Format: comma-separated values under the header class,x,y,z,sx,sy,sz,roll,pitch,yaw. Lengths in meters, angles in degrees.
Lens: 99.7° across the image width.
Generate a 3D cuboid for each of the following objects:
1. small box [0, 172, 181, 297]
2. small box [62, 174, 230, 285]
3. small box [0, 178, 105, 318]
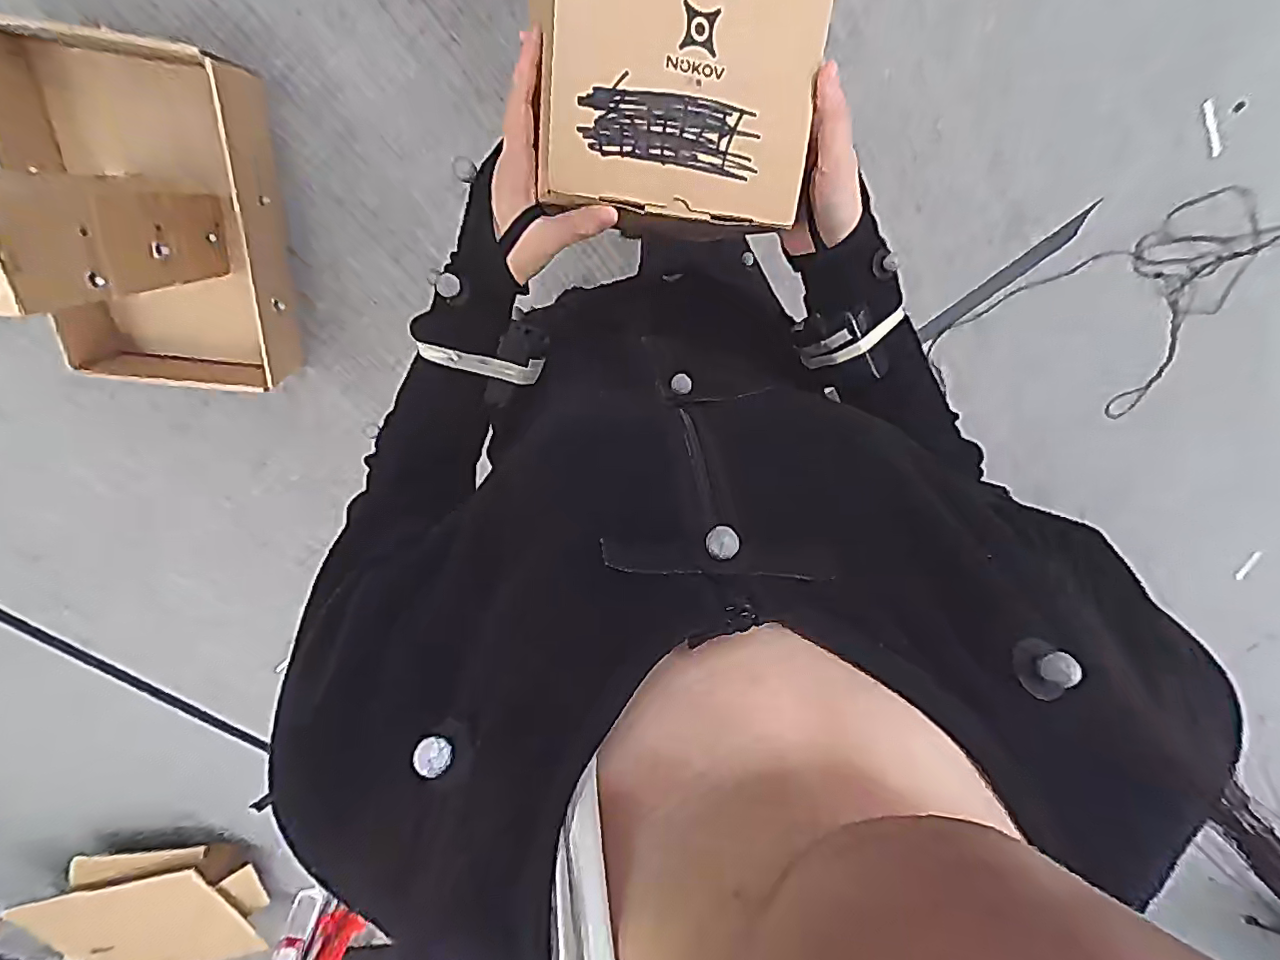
class,x,y,z,sx,sy,sz,roll,pitch,yaw
small box,-0.959,-0.426,0.938,0.179,0.176,0.168,5,118,-9
small box,-0.972,-0.500,1.081,0.179,0.176,0.168,7,117,-9
small box,-0.950,-0.349,0.793,0.179,0.176,0.168,5,117,-7
